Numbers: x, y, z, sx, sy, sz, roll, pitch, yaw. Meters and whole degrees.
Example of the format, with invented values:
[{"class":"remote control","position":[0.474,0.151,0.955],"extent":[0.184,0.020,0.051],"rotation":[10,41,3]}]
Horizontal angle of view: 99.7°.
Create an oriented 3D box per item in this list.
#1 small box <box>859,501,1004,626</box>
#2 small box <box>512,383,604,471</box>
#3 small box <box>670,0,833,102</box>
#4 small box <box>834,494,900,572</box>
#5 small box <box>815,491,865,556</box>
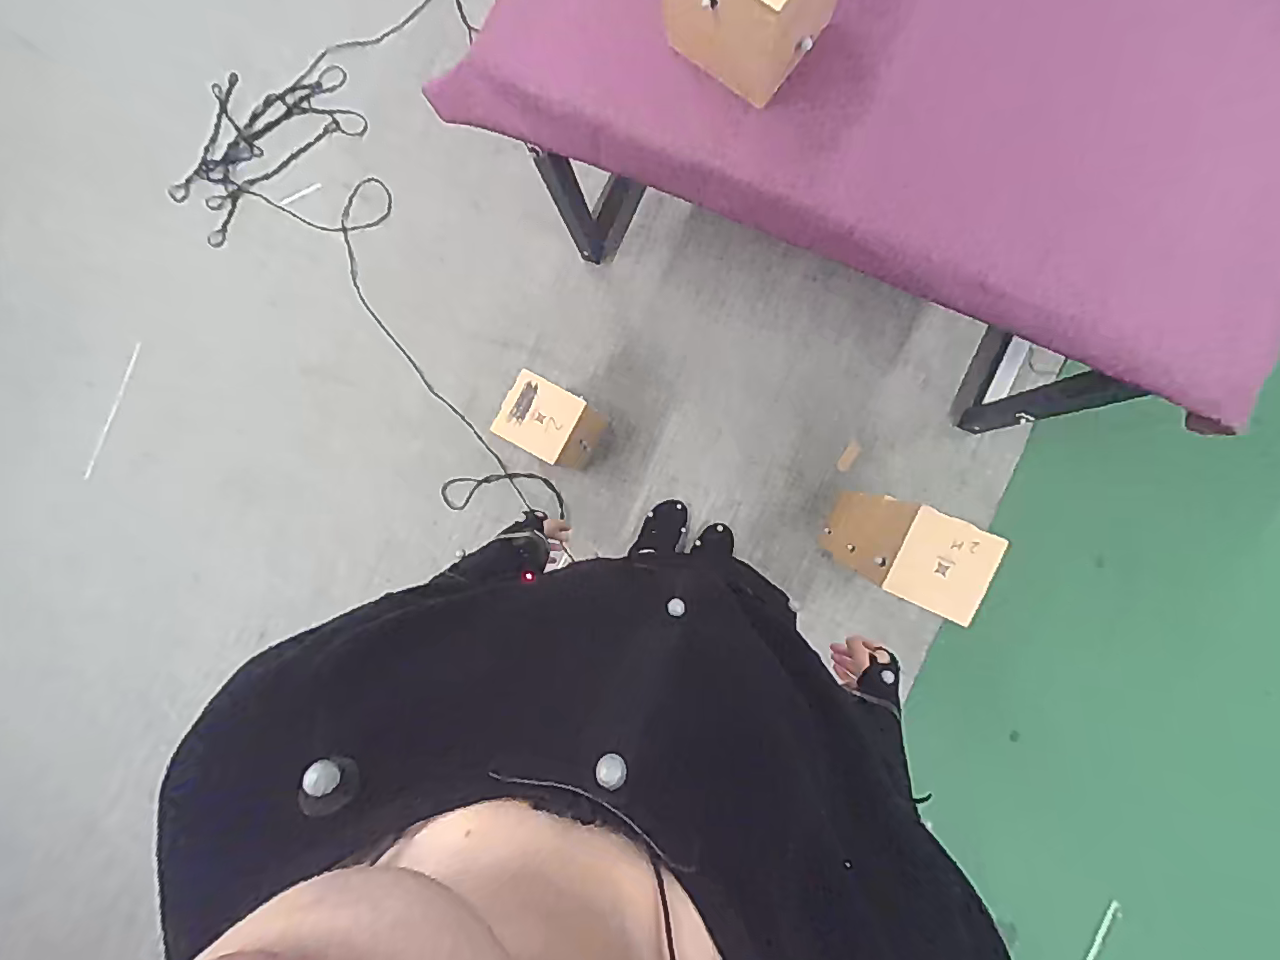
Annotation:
[{"class":"small box","position":[0.552,0.152,1.055],"extent":[0.168,0.176,0.179],"rotation":[24,92,5]},{"class":"small box","position":[-0.213,-0.135,1.468],"extent":[0.168,0.176,0.179],"rotation":[29,92,6]},{"class":"small box","position":[0.149,-0.658,0.715],"extent":[0.179,0.176,0.168],"rotation":[38,93,5]},{"class":"small box","position":[0.560,0.140,1.220],"extent":[0.168,0.176,0.179],"rotation":[24,93,6]},{"class":"small box","position":[0.573,0.139,1.382],"extent":[0.179,0.176,0.168],"rotation":[26,92,5]}]
